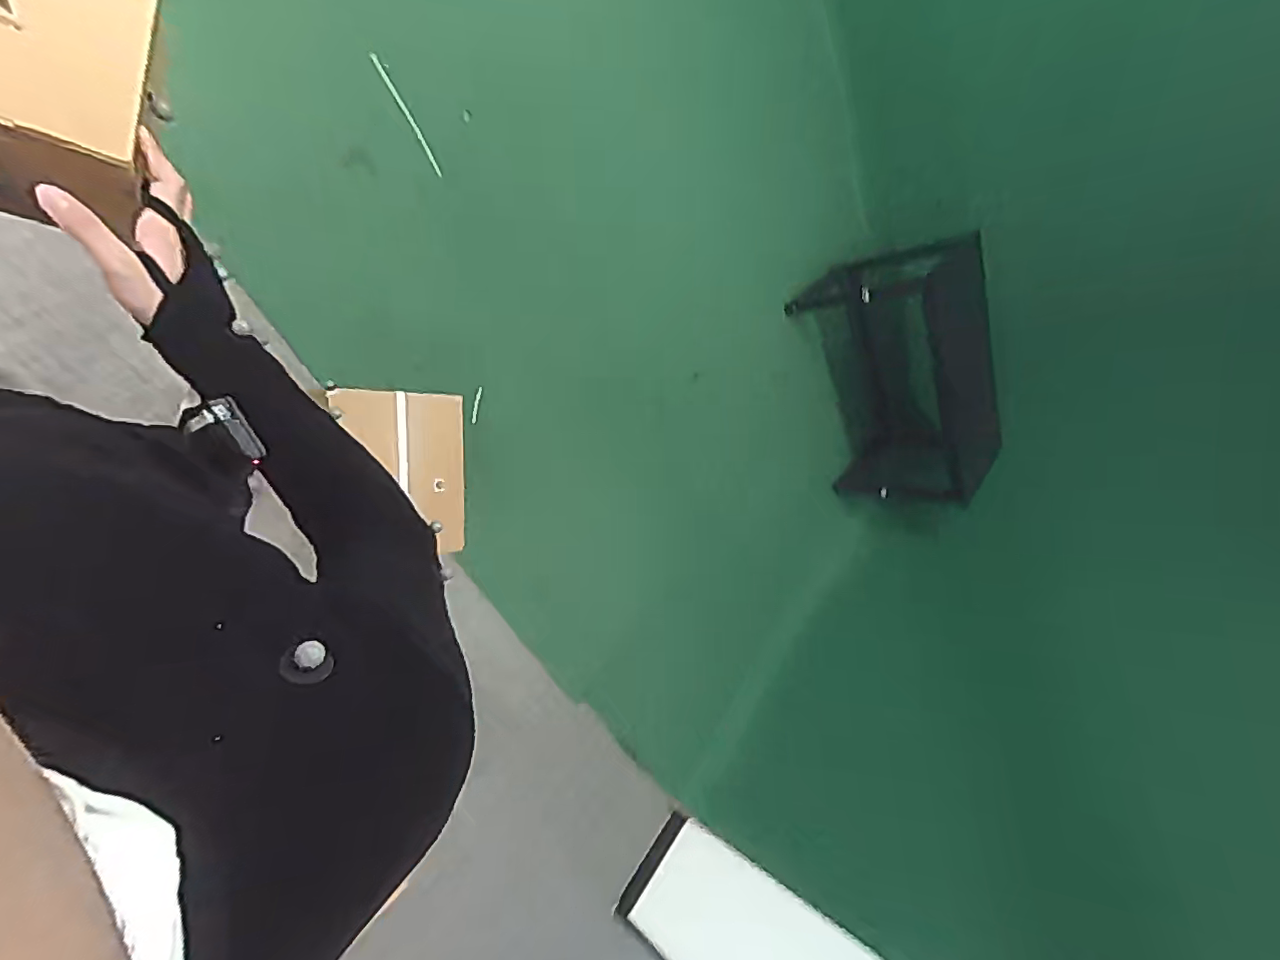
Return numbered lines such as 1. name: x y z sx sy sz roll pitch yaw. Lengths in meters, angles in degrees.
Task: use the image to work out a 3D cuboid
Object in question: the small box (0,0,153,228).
1. small box: -0.505 -0.339 0.428 0.168 0.176 0.179 7 84 -41
